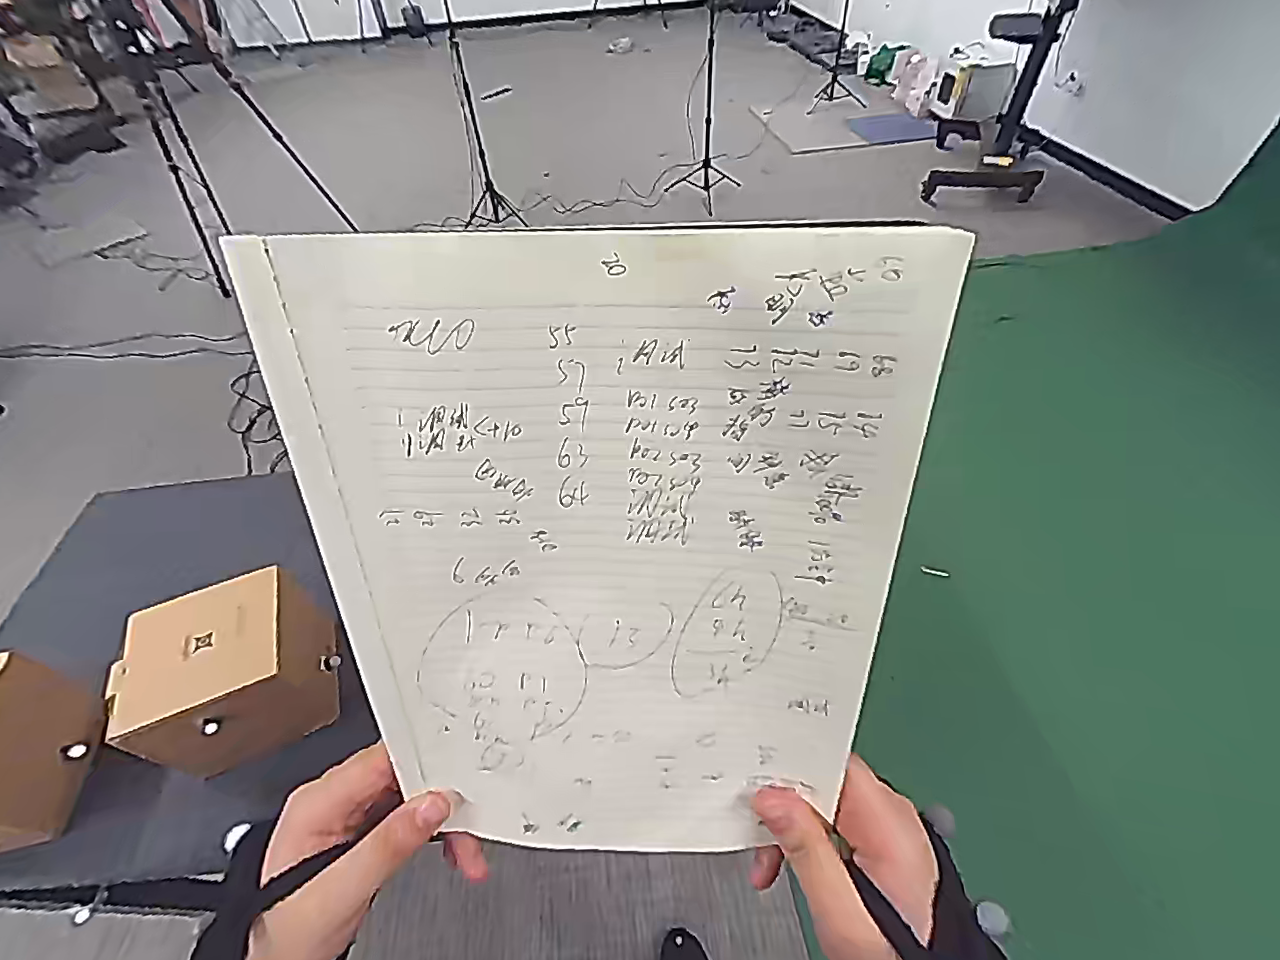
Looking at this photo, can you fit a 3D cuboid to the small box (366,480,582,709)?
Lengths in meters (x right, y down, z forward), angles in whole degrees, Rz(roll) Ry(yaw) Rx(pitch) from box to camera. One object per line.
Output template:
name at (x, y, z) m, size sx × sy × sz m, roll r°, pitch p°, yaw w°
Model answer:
small box at (-0.159, 0.126, 0.581) m, size 0.179 × 0.176 × 0.168 m, roll -10°, pitch 48°, yaw -4°

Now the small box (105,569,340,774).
small box at (-0.527, 0.254, 0.711) m, size 0.179 × 0.176 × 0.168 m, roll -20°, pitch 51°, yaw -15°

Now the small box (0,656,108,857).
small box at (-0.810, 0.343, 0.649) m, size 0.168 × 0.176 × 0.179 m, roll -12°, pitch 50°, yaw -7°

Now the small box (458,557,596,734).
small box at (-0.157, 0.214, 0.719) m, size 0.168 × 0.176 × 0.179 m, roll 3°, pitch 50°, yaw 7°
